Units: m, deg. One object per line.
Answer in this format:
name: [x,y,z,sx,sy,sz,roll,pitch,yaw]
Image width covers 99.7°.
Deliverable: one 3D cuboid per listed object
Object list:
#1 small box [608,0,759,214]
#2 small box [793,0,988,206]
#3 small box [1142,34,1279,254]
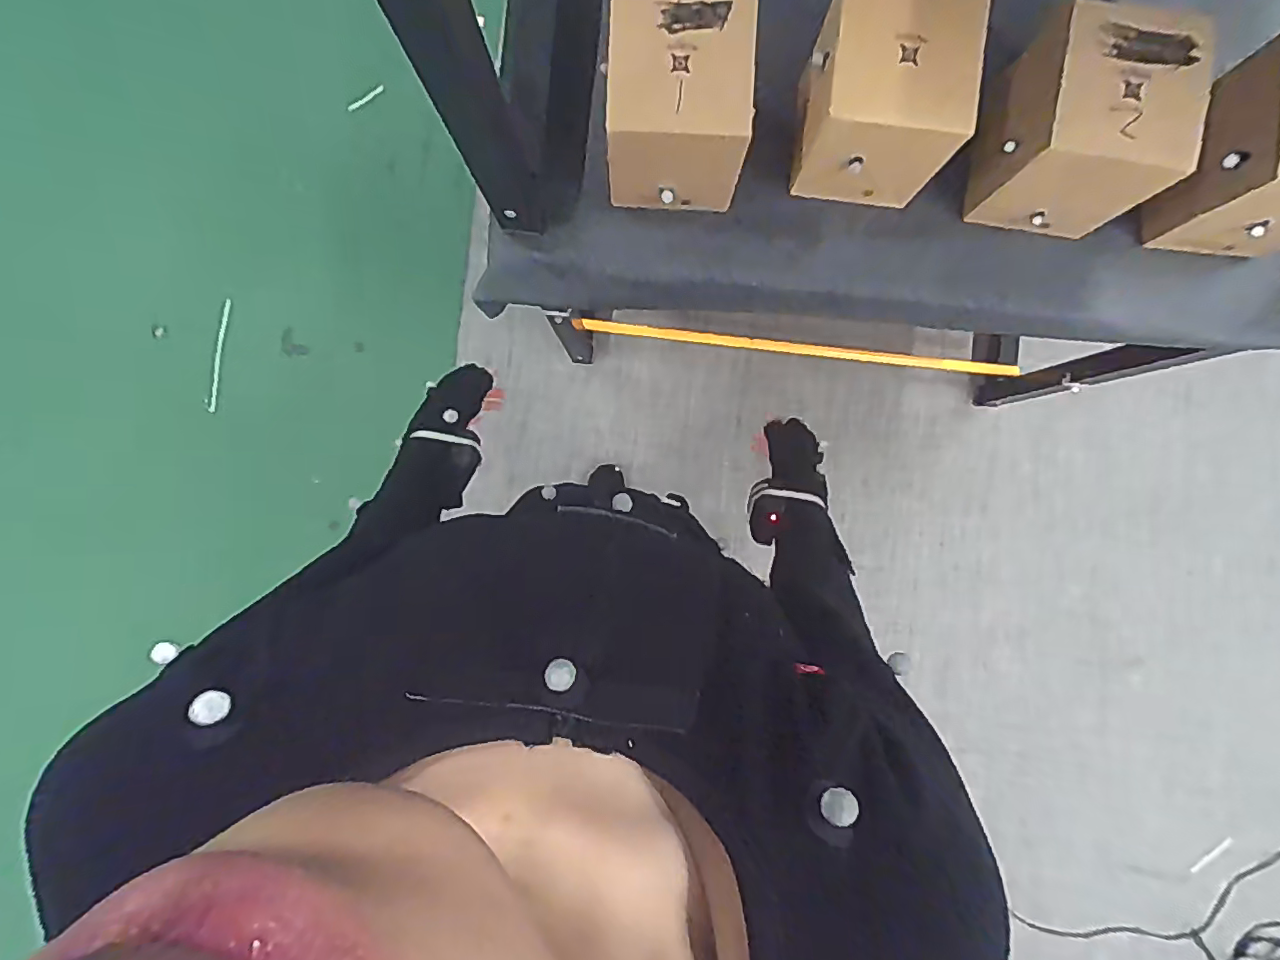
small box: [0.049,-0.470,0.687,0.168,0.176,0.179,2,90,0]
small box: [0.302,-0.478,0.688,0.168,0.176,0.179,7,89,0]
small box: [0.790,-0.407,0.682,0.168,0.176,0.179,6,88,0]
